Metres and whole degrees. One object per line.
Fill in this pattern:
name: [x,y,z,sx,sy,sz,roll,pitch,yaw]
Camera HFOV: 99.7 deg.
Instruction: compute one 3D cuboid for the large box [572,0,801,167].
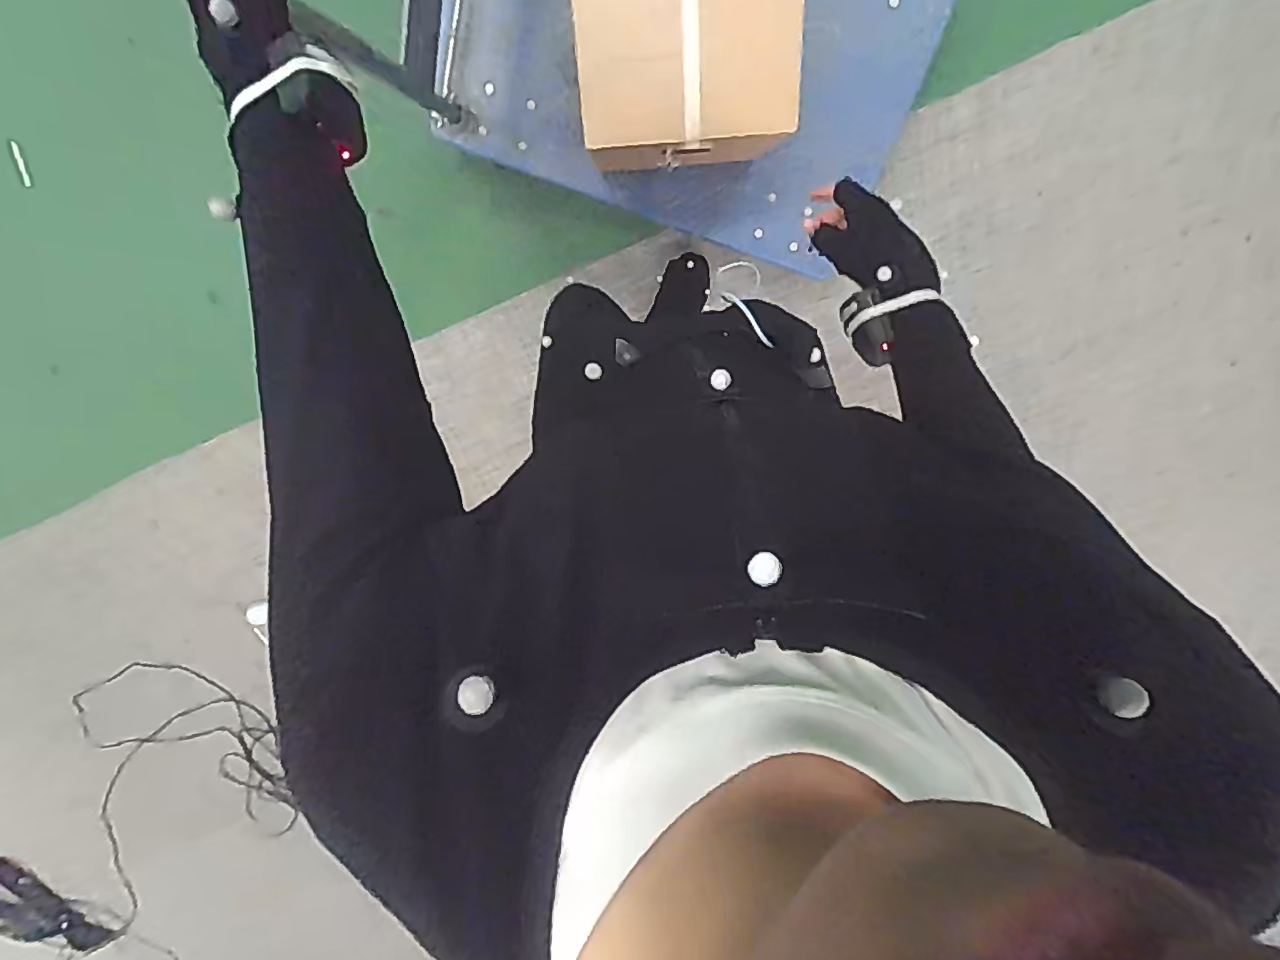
large box: [0.063,-0.751,0.849,0.320,0.320,0.408,-3,114,2]
